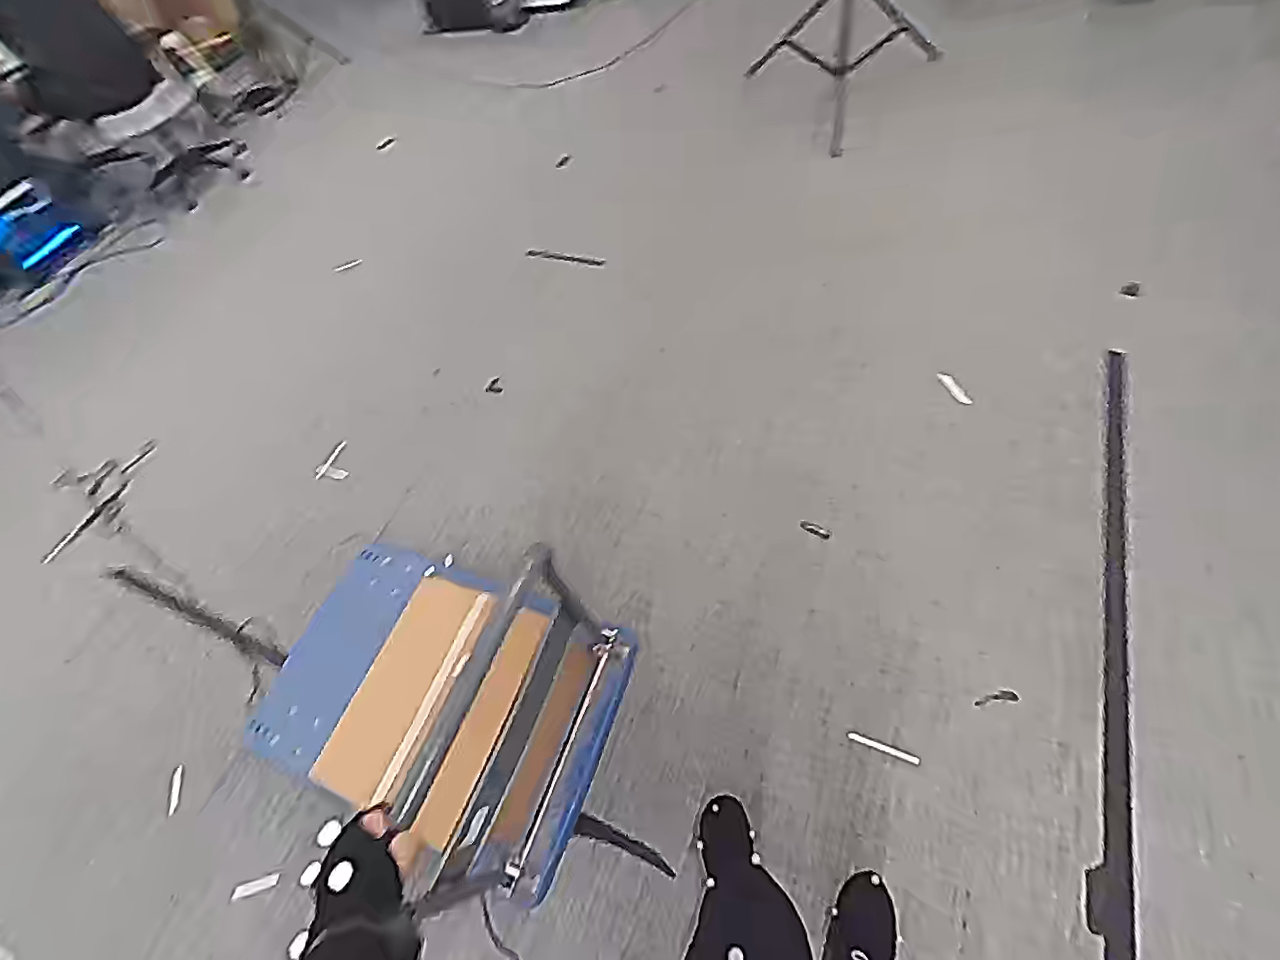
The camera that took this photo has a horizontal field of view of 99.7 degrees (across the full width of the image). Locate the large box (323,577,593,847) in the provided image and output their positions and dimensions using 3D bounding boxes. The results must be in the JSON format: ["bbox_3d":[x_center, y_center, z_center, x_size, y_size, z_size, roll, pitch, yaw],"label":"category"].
[{"bbox_3d":[-0.344,0.480,1.135,0.320,0.320,0.408,15,63,19],"label":"large box"}]
